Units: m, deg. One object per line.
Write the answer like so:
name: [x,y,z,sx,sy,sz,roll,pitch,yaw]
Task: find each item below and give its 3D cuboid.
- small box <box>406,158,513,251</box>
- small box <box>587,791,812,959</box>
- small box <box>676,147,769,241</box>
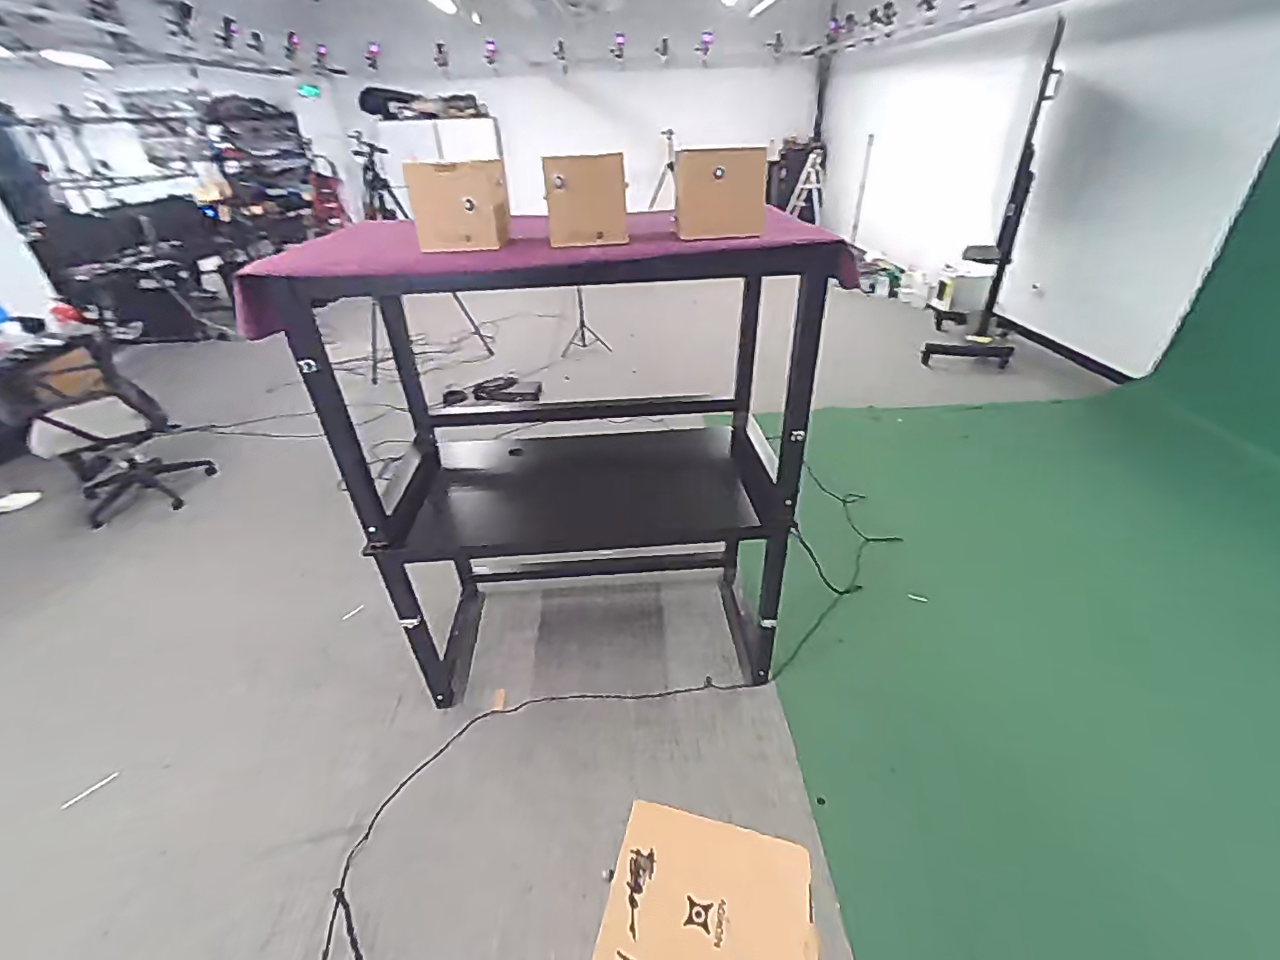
small box: [-0.377,-0.595,1.171,0.168,0.176,0.179,-1,31,-1]
small box: [0.049,0.433,0.494,0.179,0.176,0.168,11,29,10]
small box: [0.174,-0.626,1.187,0.179,0.176,0.168,-3,32,-1]
